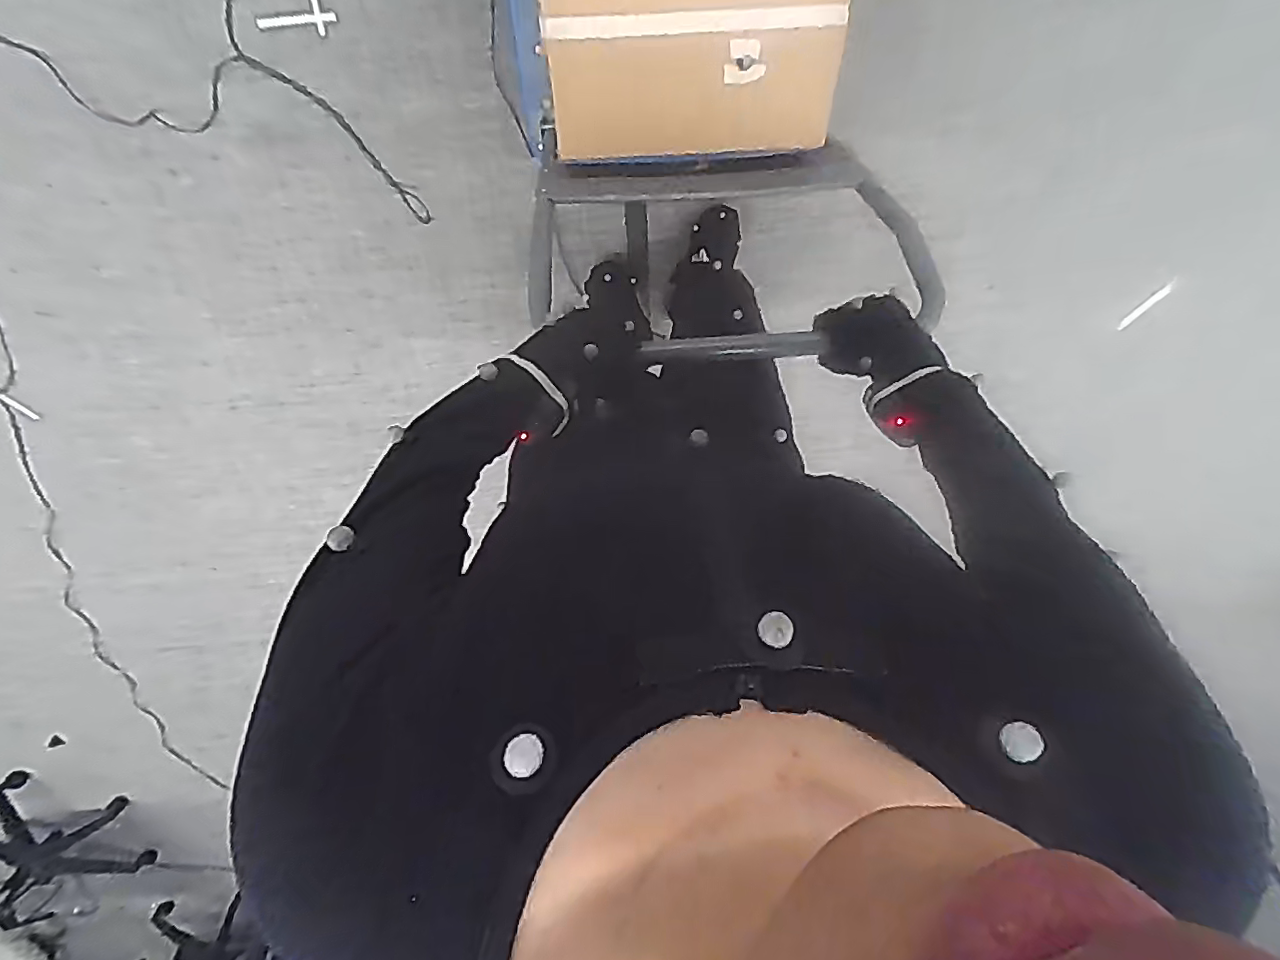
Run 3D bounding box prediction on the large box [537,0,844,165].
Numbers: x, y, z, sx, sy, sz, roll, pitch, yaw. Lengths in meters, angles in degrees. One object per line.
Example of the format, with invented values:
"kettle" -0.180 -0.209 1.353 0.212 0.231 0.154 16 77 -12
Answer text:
"large box" 0.056 -0.703 0.812 0.408 0.320 0.320 -5 136 -2
